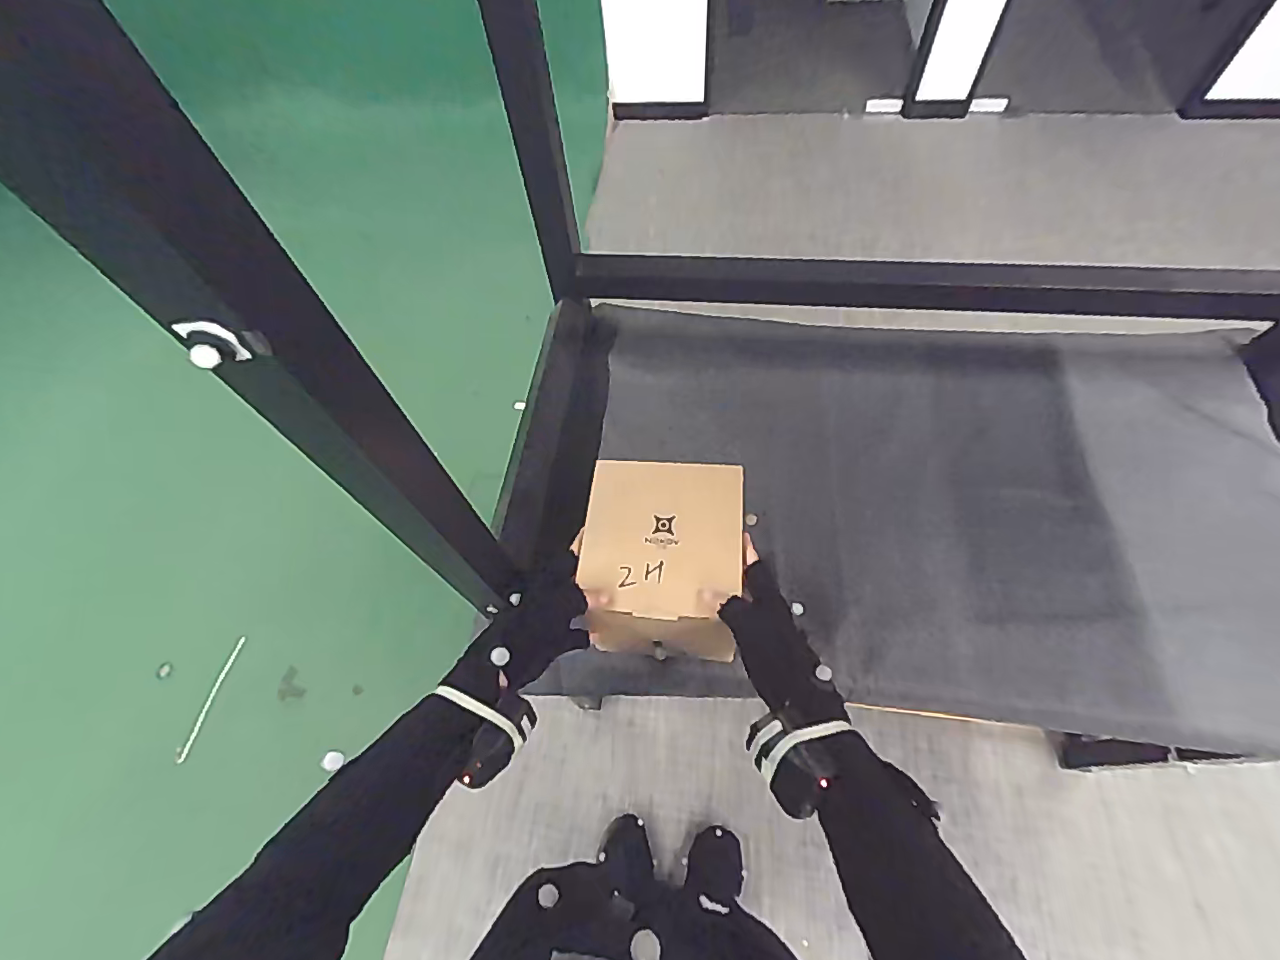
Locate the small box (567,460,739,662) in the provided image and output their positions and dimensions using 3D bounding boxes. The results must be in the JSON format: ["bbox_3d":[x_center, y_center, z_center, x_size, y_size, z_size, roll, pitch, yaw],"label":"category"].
[{"bbox_3d":[0.024,0.097,0.628,0.168,0.176,0.179,2,59,8],"label":"small box"}]
